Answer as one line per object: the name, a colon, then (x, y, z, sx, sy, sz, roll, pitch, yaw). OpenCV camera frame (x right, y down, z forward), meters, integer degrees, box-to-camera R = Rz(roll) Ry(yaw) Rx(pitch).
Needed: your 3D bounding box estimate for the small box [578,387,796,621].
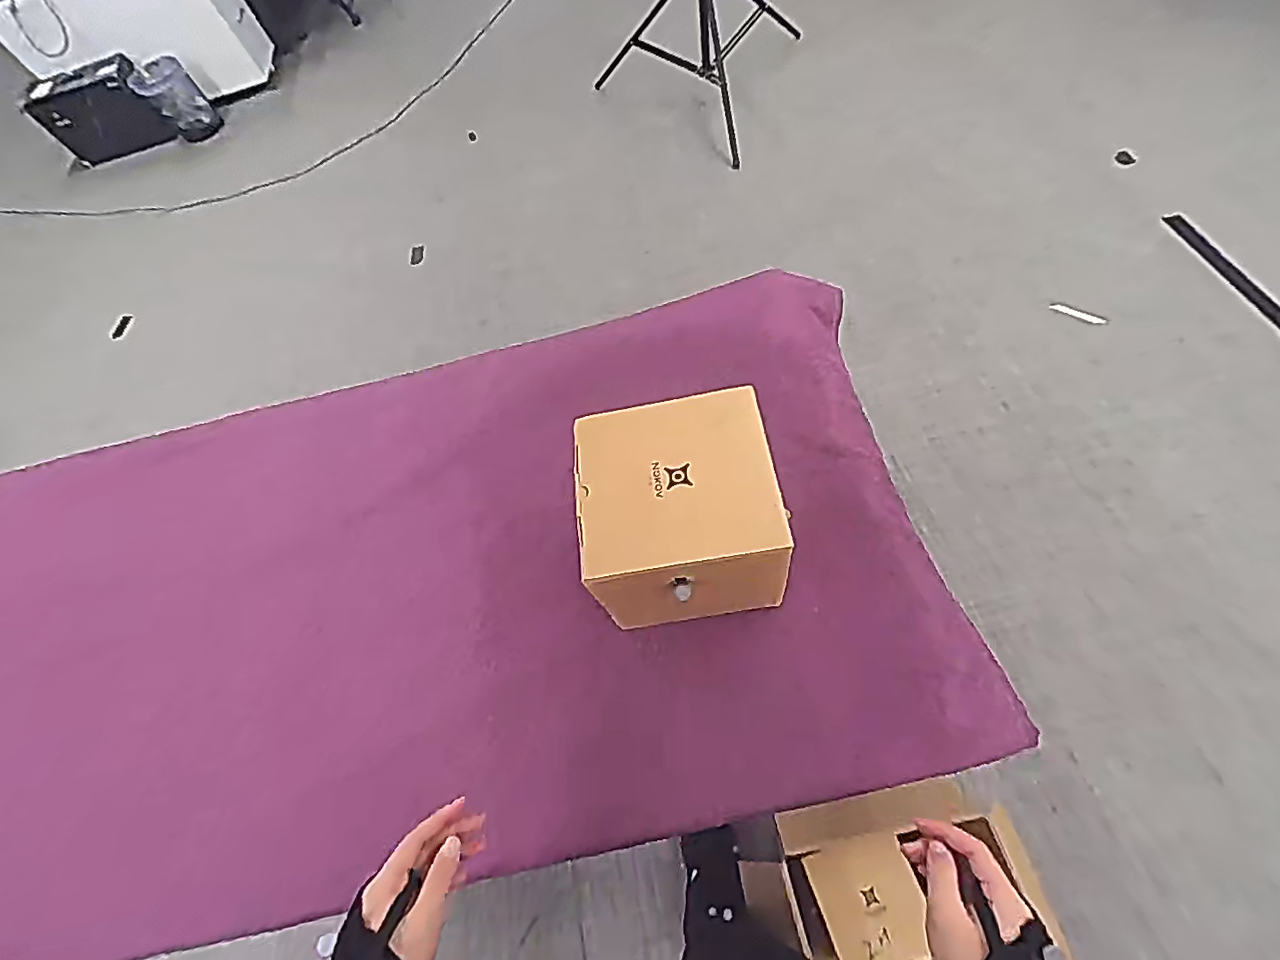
small box: (0.046, 0.034, 0.547, 0.179, 0.176, 0.168, -10, 60, 6)
